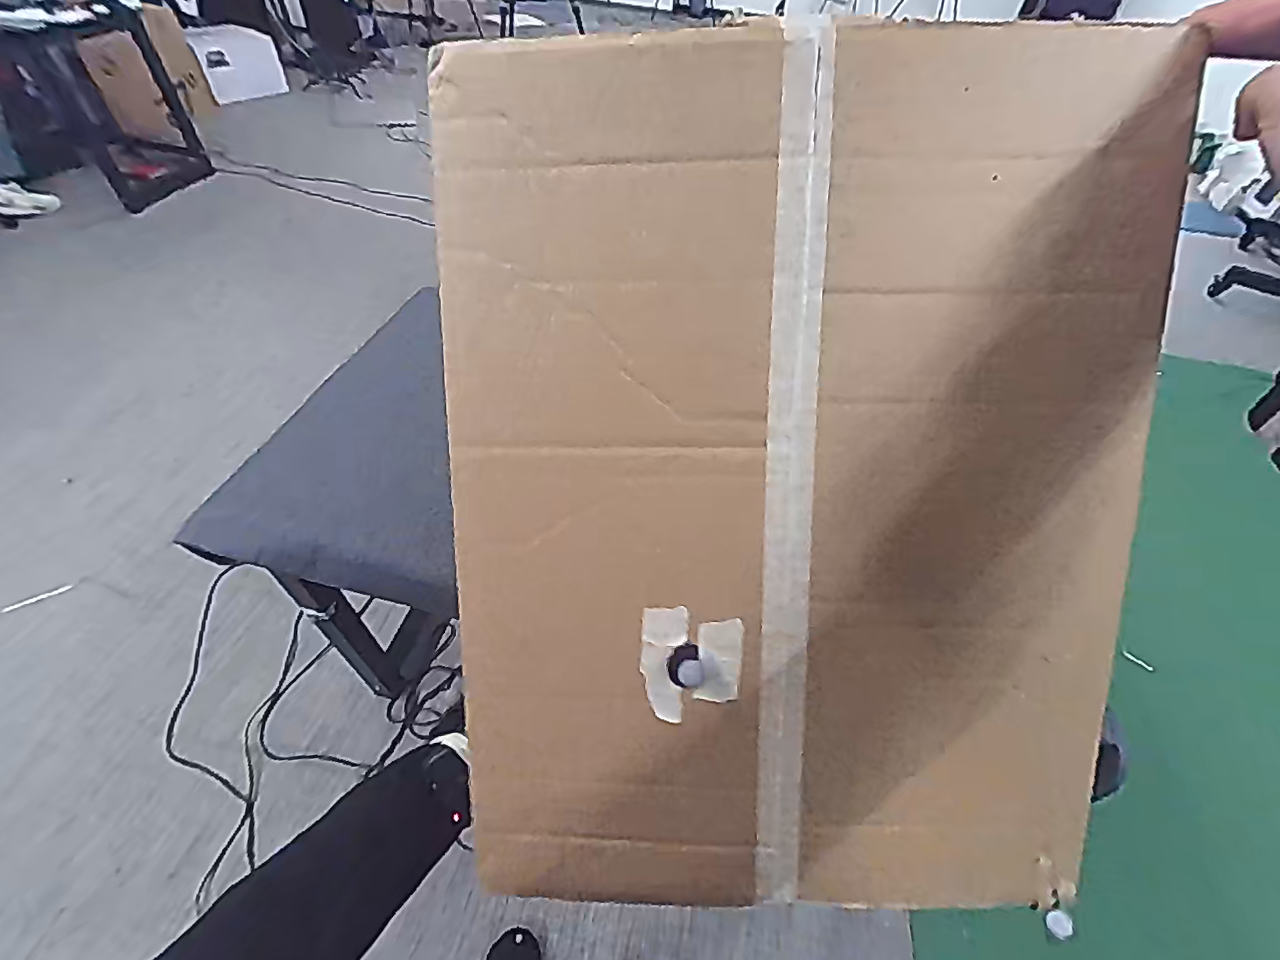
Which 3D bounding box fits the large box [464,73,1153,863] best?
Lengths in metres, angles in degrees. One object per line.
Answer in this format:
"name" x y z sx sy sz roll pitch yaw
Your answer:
"large box" 0.081 -0.009 0.419 0.320 0.408 0.320 -1 11 1
